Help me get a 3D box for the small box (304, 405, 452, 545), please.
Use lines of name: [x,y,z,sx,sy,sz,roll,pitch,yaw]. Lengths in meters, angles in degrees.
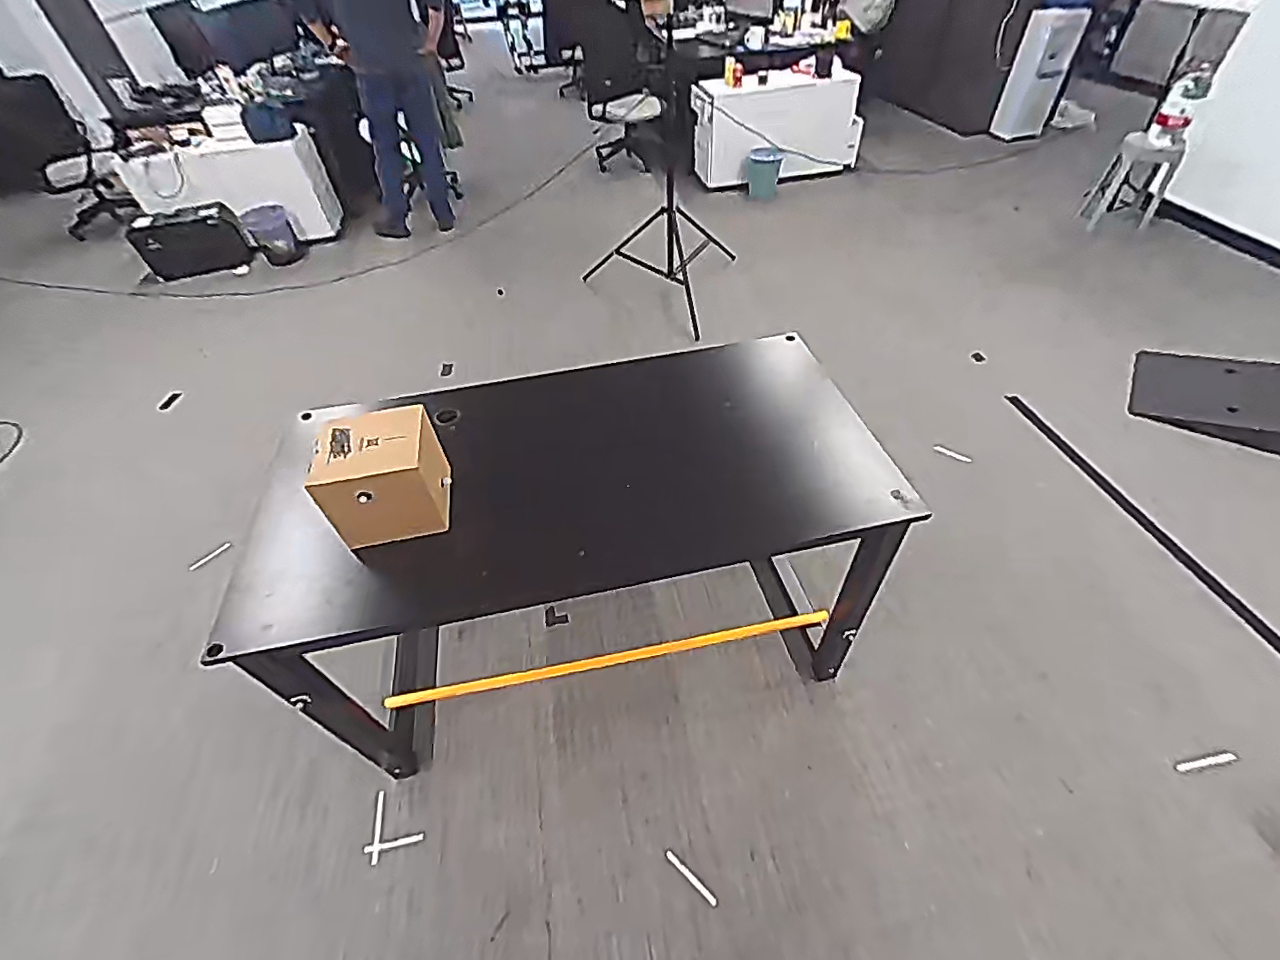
small box: [-0.449,-0.005,0.956,0.179,0.176,0.168,-11,47,-7]
